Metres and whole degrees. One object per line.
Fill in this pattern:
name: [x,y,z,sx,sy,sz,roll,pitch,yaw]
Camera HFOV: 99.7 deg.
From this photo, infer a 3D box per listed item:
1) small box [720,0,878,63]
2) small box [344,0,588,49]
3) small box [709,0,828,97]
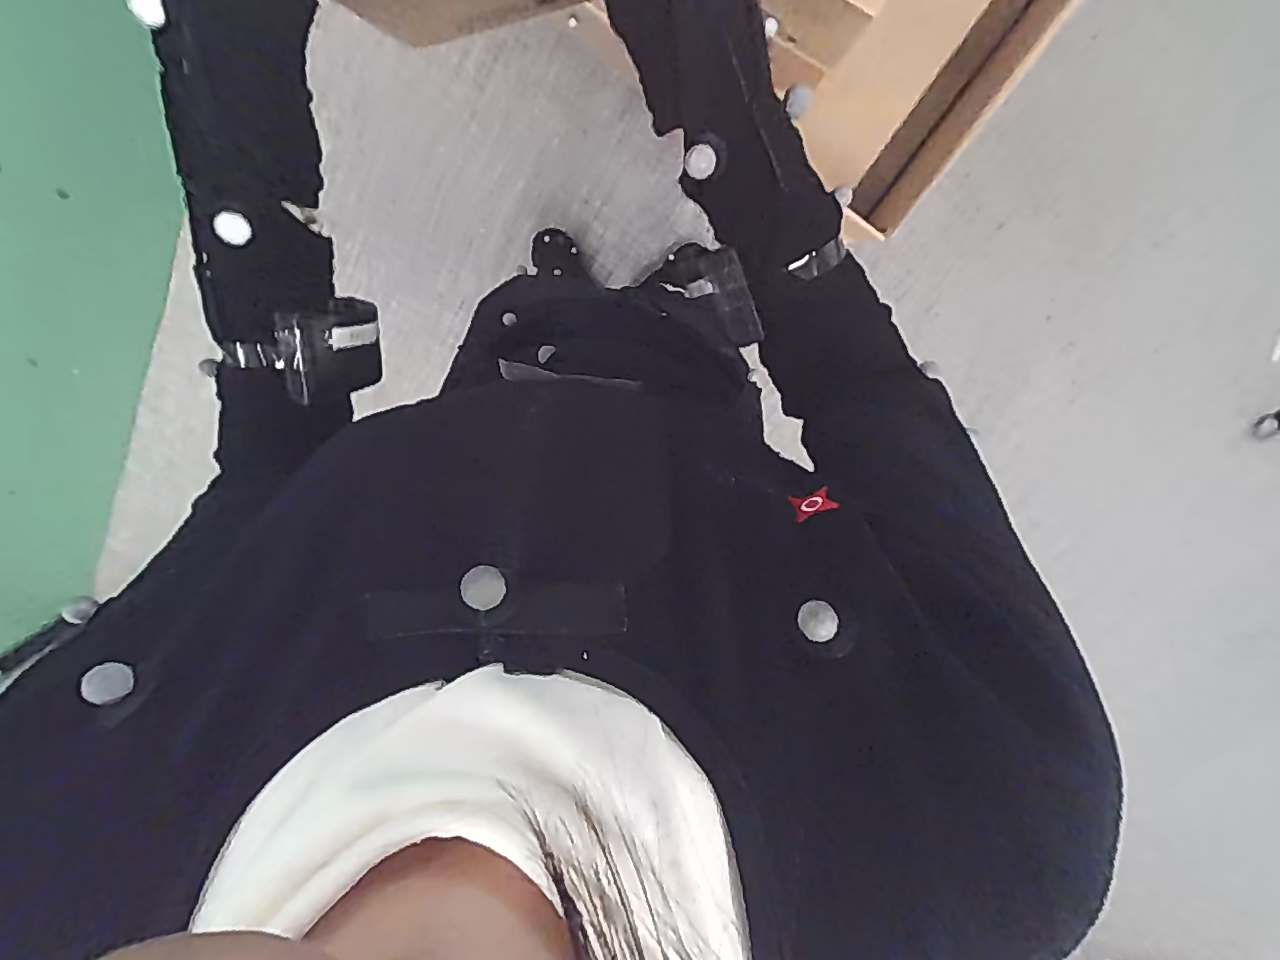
small box: [0.183,-0.558,0.521,0.168,0.176,0.179,27,114,-6]
small box: [-0.112,-0.352,0.255,0.168,0.176,0.179,-10,113,8]
small box: [0.193,-0.624,0.671,0.168,0.176,0.179,27,114,-7]
